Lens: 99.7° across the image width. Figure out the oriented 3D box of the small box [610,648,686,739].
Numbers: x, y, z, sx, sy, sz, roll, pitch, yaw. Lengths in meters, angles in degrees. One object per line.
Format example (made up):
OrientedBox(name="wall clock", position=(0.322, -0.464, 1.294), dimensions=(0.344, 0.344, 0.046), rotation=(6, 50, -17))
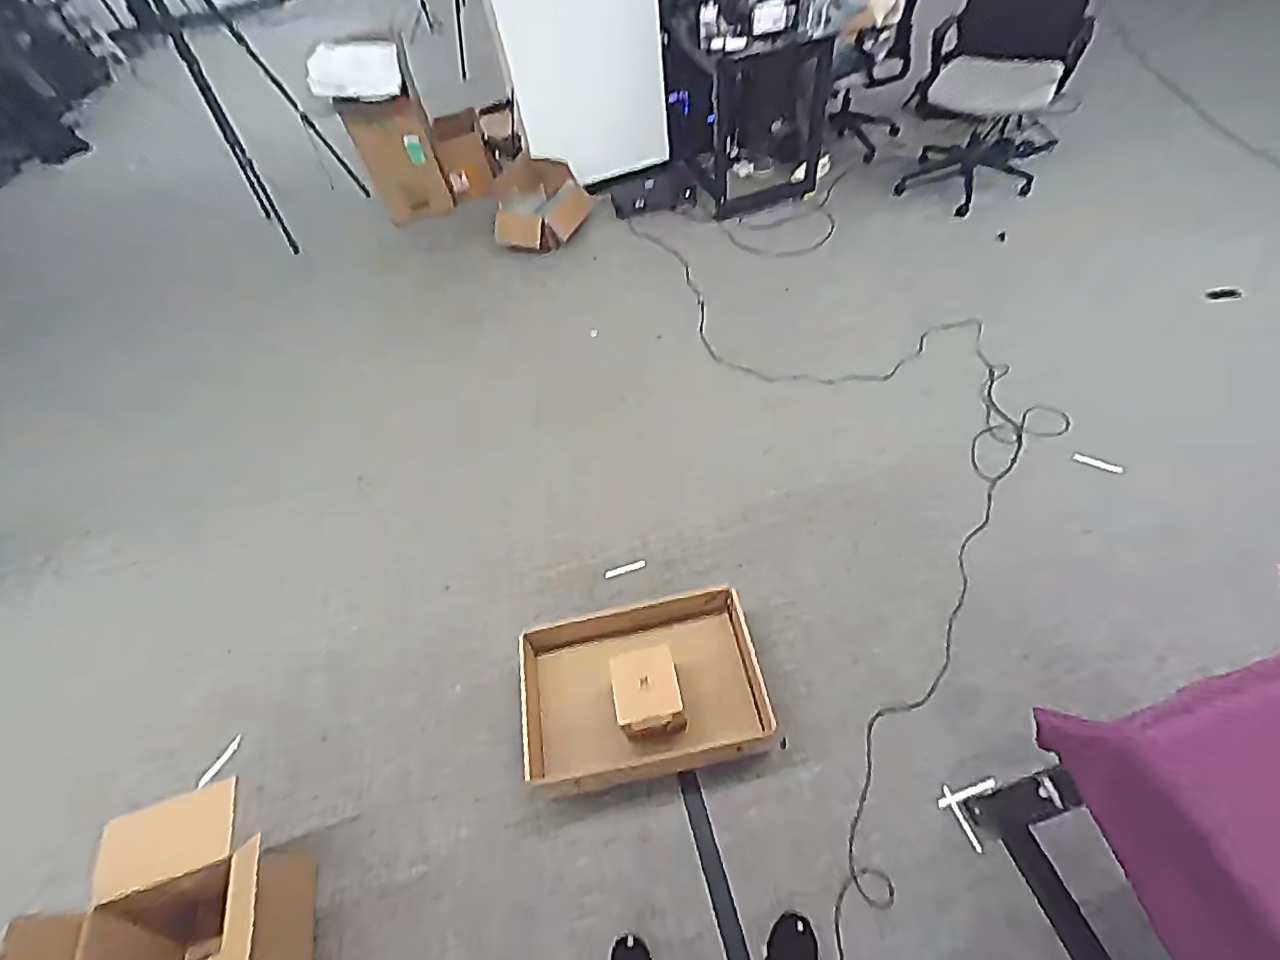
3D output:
OrientedBox(name="small box", position=(0.023, 0.567, 1.421), dimensions=(0.168, 0.176, 0.179), rotation=(-12, 52, -1))
